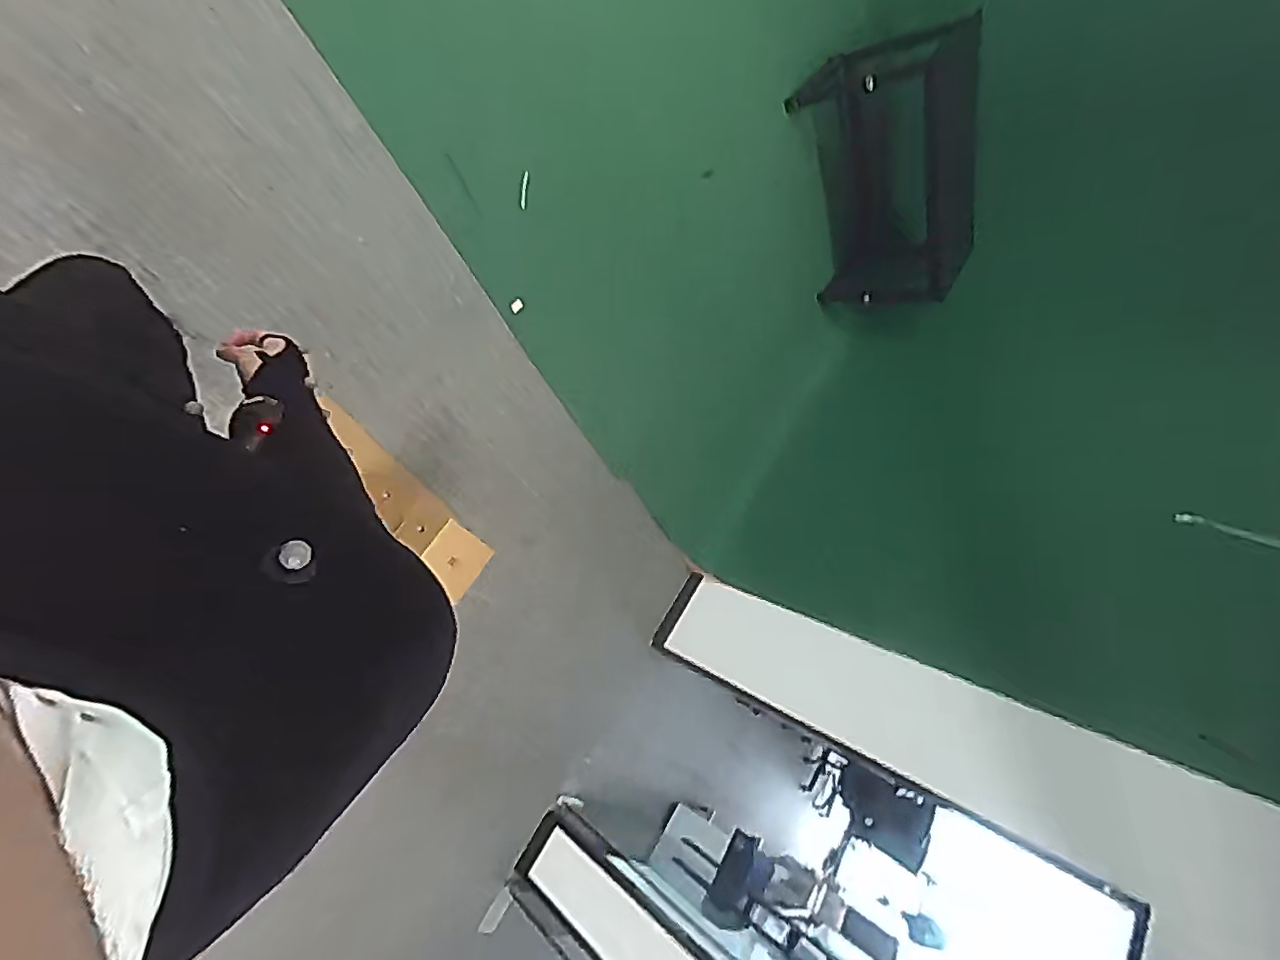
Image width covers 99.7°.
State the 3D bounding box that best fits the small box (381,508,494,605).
[{"bbox_3d":[-0.521,0.189,1.385,0.168,0.176,0.179,-57,138,-20],"label":"small box"}]
